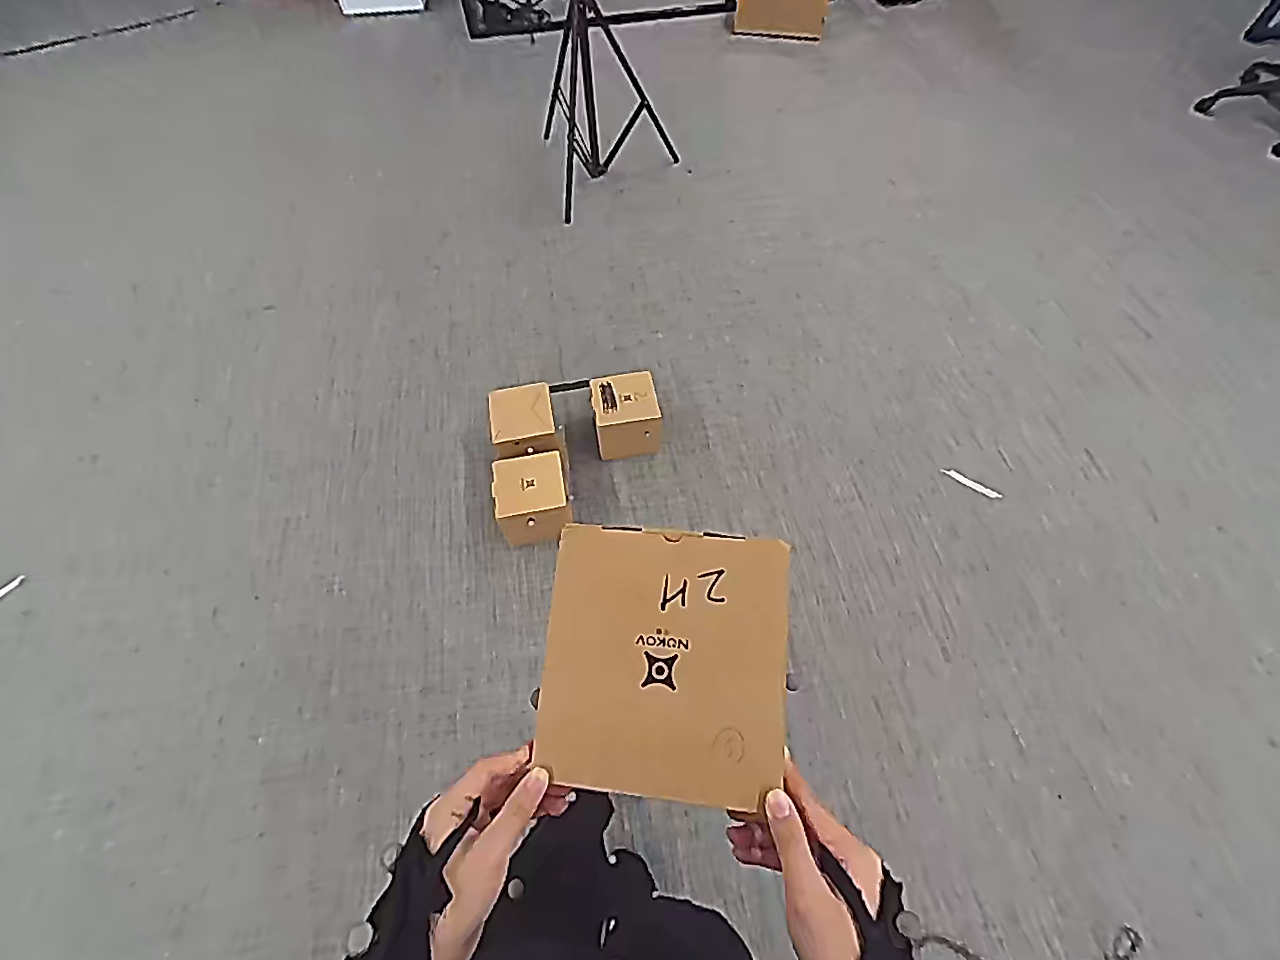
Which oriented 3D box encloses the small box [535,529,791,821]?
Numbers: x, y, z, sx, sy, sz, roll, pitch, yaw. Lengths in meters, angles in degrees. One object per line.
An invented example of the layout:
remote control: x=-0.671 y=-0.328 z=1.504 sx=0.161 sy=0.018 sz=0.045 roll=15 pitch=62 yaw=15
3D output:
small box: x=0.027 y=0.146 z=0.448 sx=0.168 sy=0.176 sz=0.179 roll=4 pitch=76 yaw=8

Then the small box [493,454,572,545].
small box: x=-0.276 y=0.055 z=1.418 sx=0.179 sy=0.176 sz=0.168 roll=-10 pitch=61 yaw=-4
